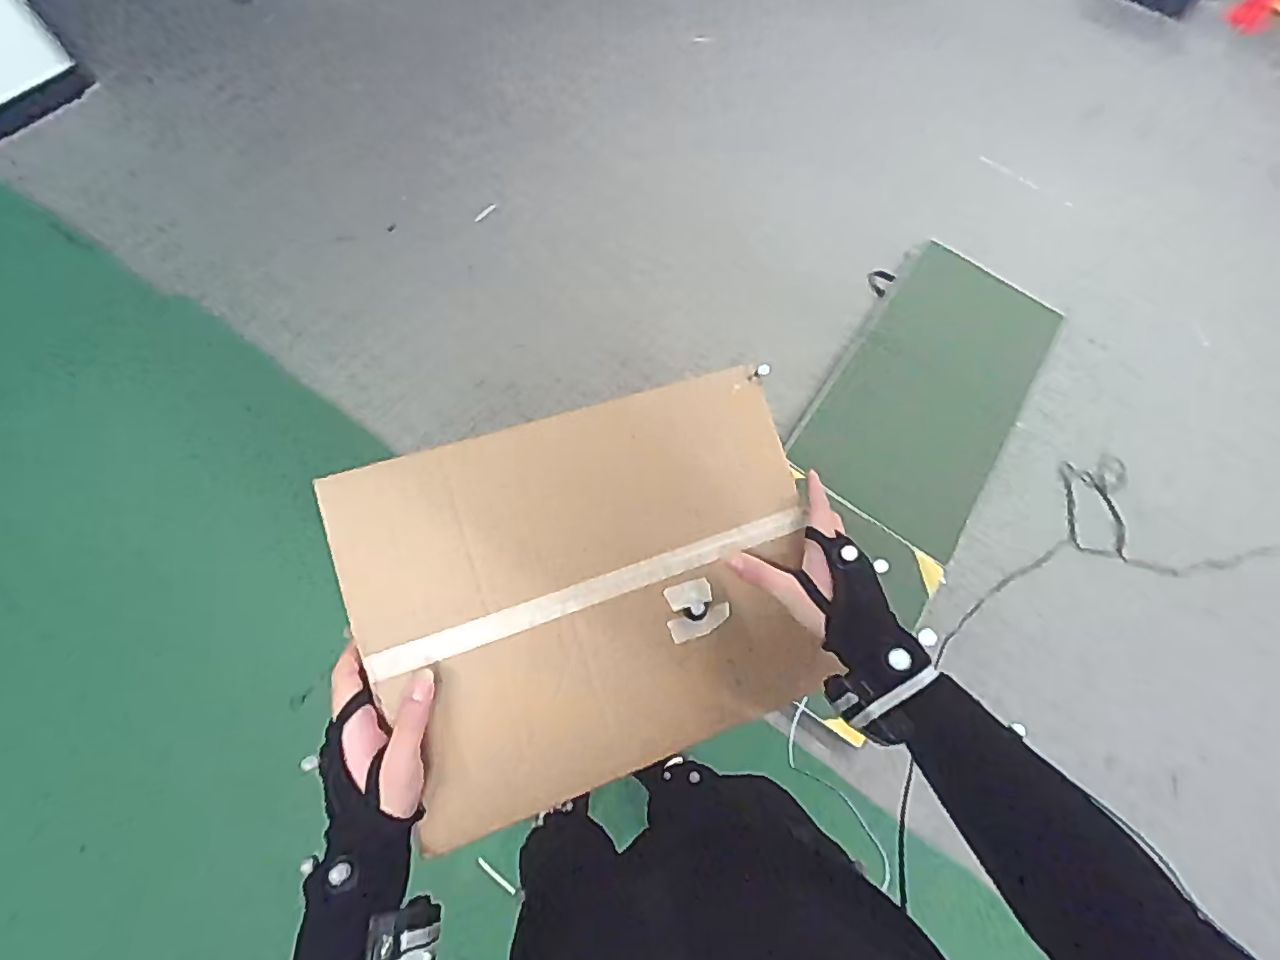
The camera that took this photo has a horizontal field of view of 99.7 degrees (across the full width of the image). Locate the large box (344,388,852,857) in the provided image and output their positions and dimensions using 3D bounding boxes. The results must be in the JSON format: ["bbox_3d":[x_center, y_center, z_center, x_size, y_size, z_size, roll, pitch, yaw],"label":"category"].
[{"bbox_3d":[-0.054,0.129,0.631,0.408,0.320,0.320,-16,84,-14],"label":"large box"}]
